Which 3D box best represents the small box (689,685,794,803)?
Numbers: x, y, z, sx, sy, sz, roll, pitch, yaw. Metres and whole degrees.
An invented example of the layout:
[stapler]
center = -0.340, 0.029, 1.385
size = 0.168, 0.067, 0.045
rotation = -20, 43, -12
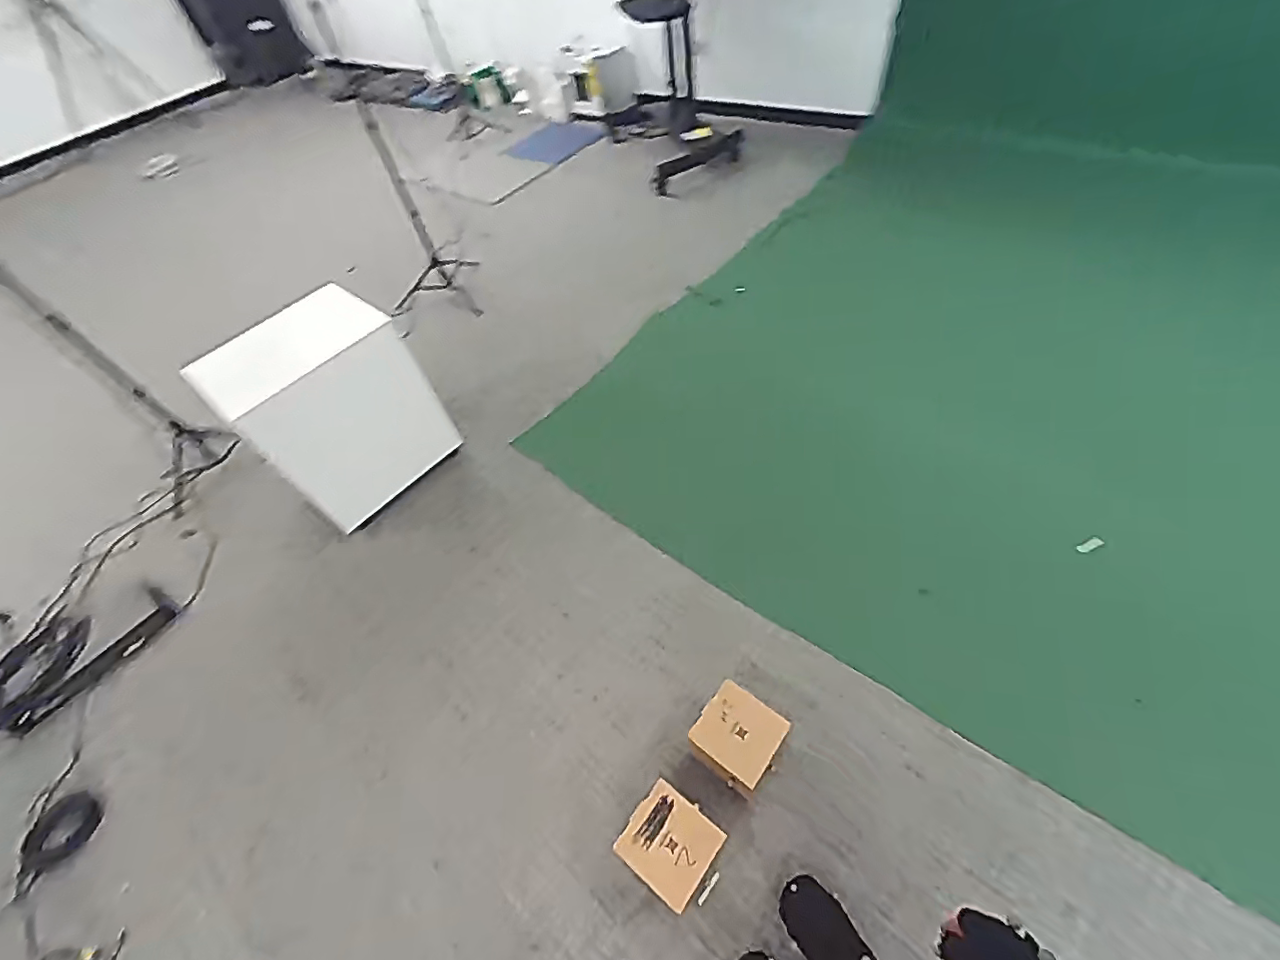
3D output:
[small box]
center = 0.234, 0.618, 1.254
size = 0.179, 0.176, 0.168
rotation = 29, 61, 29
